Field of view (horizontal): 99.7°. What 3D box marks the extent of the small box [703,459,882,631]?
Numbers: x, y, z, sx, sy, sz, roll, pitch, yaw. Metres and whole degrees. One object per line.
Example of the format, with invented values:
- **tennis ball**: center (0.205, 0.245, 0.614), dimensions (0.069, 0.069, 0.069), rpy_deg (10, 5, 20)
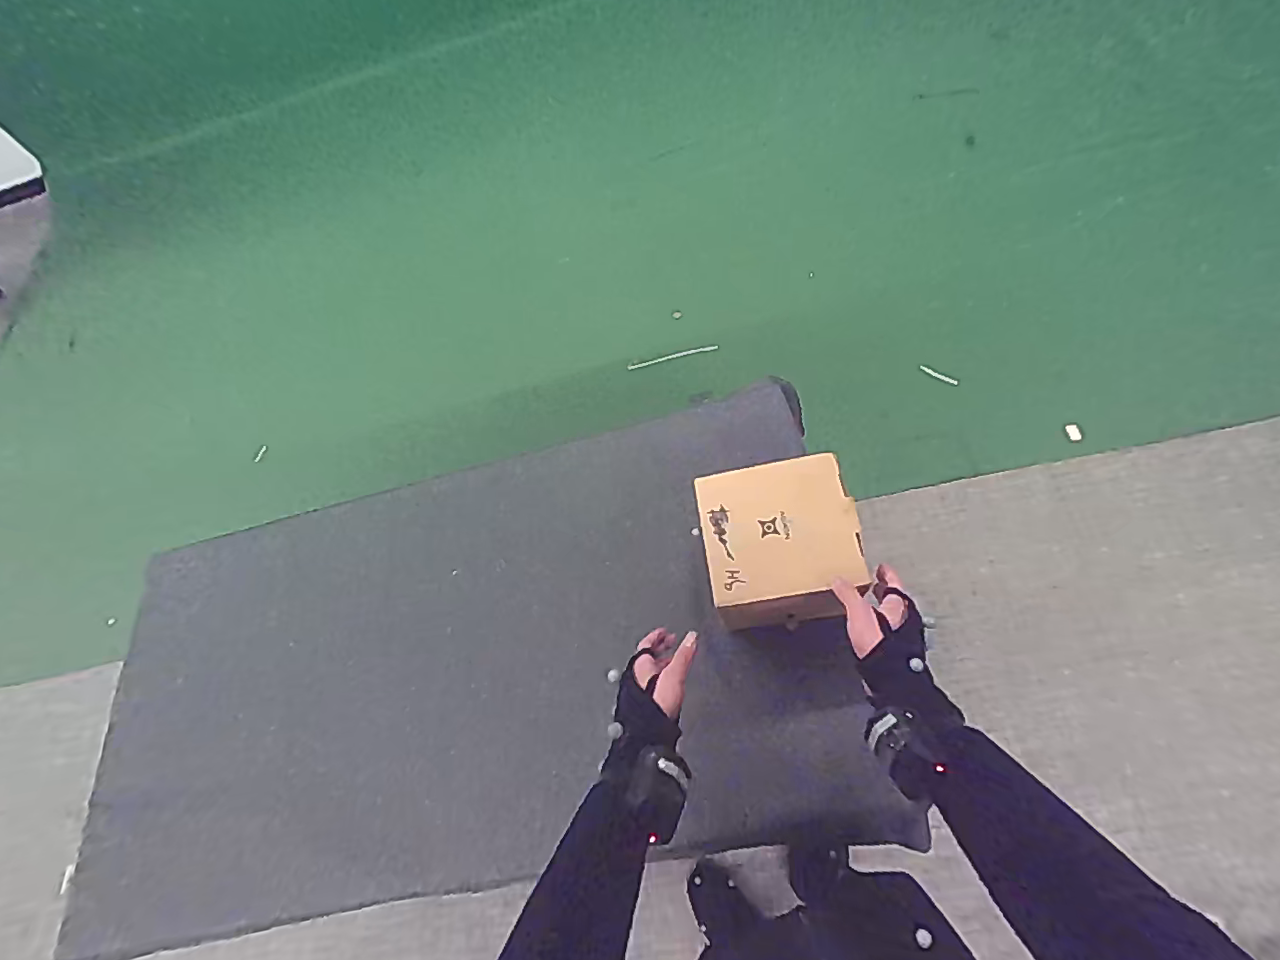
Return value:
- **small box**: center (0.183, 0.092, 0.697), dimensions (0.179, 0.176, 0.168), rpy_deg (-10, 64, 7)
